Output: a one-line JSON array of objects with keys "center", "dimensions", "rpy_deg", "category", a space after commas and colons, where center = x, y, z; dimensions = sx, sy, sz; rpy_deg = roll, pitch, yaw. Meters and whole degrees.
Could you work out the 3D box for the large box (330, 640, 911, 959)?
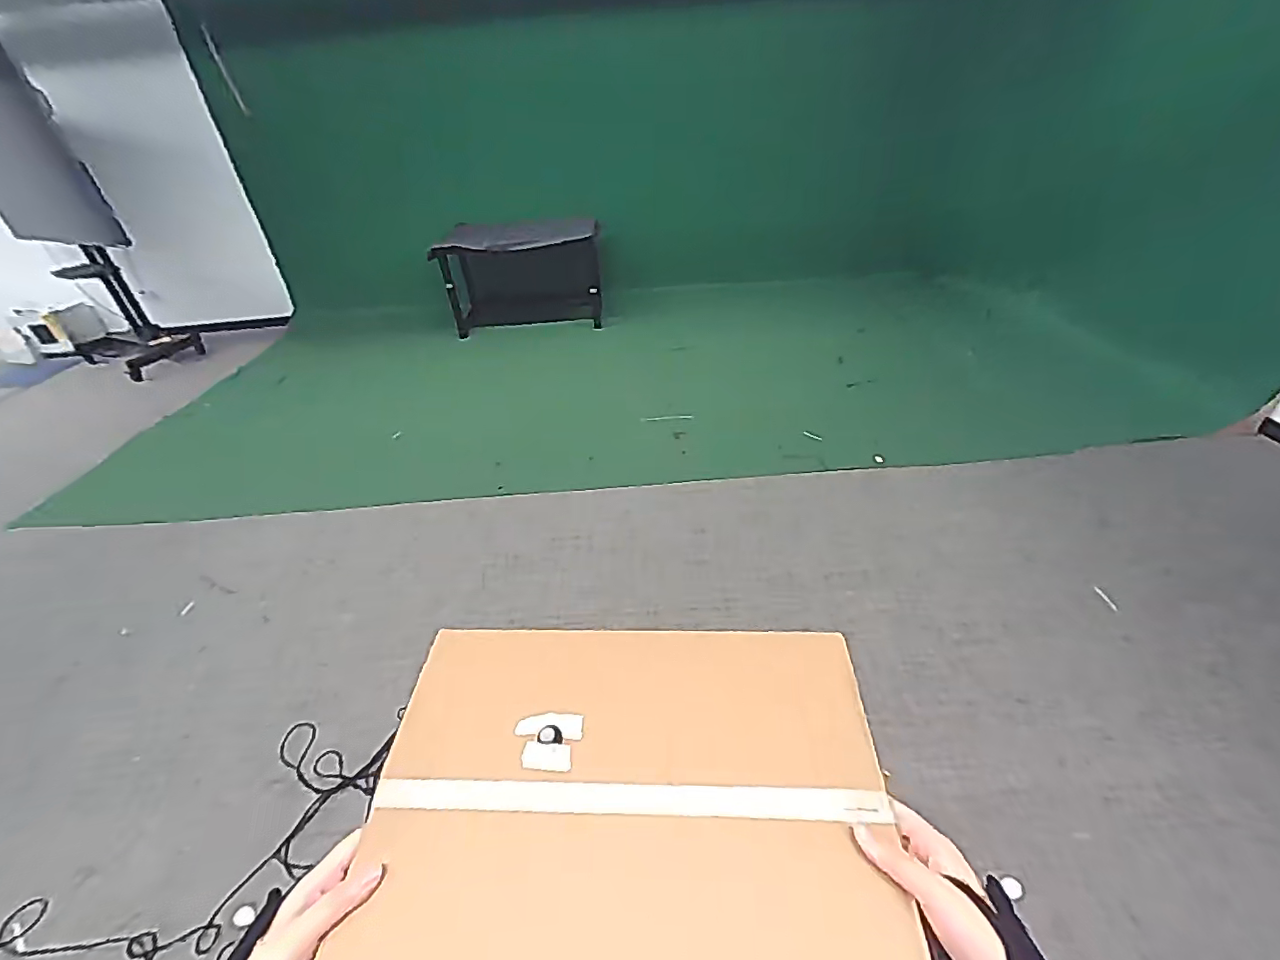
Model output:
[{"center": [-0.001, 0.377, 0.529], "dimensions": [0.408, 0.320, 0.320], "rpy_deg": [-2, 41, 6], "category": "large box"}]
